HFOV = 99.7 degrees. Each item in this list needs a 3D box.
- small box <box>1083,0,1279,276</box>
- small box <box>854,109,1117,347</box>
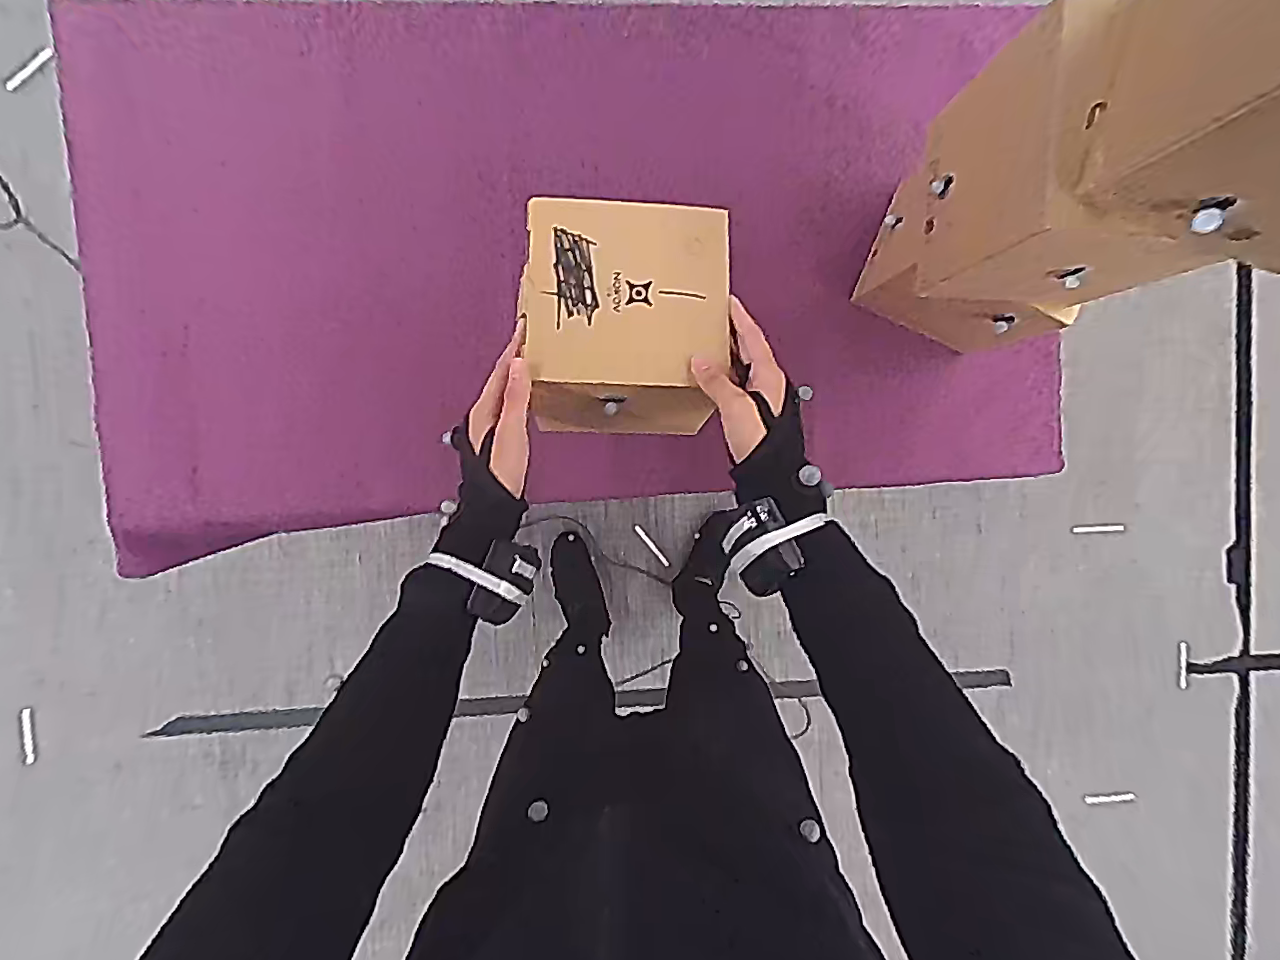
[{"bbox_3d":[0.406,-0.244,0.298,0.168,0.176,0.179,19,93,-3],"label":"small box"},{"bbox_3d":[0.388,-0.267,0.625,0.179,0.176,0.168,23,91,-5],"label":"small box"}]
